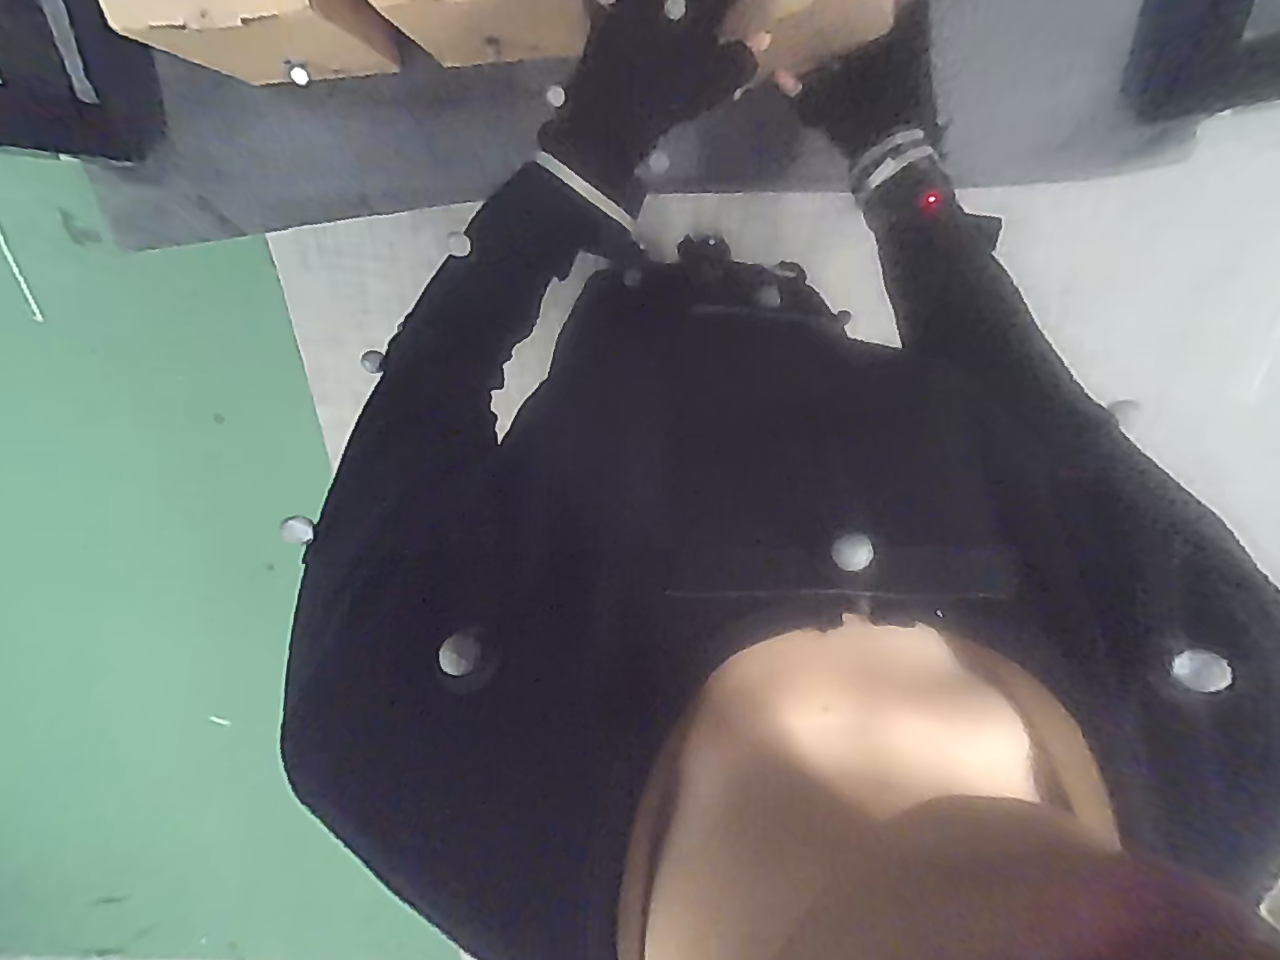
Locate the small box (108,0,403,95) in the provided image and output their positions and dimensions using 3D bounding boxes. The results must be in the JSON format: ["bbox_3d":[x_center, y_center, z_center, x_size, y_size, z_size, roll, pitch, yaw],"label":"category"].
[{"bbox_3d":[-0.334,-0.464,0.468,0.168,0.176,0.179,-3,113,2],"label":"small box"}]
